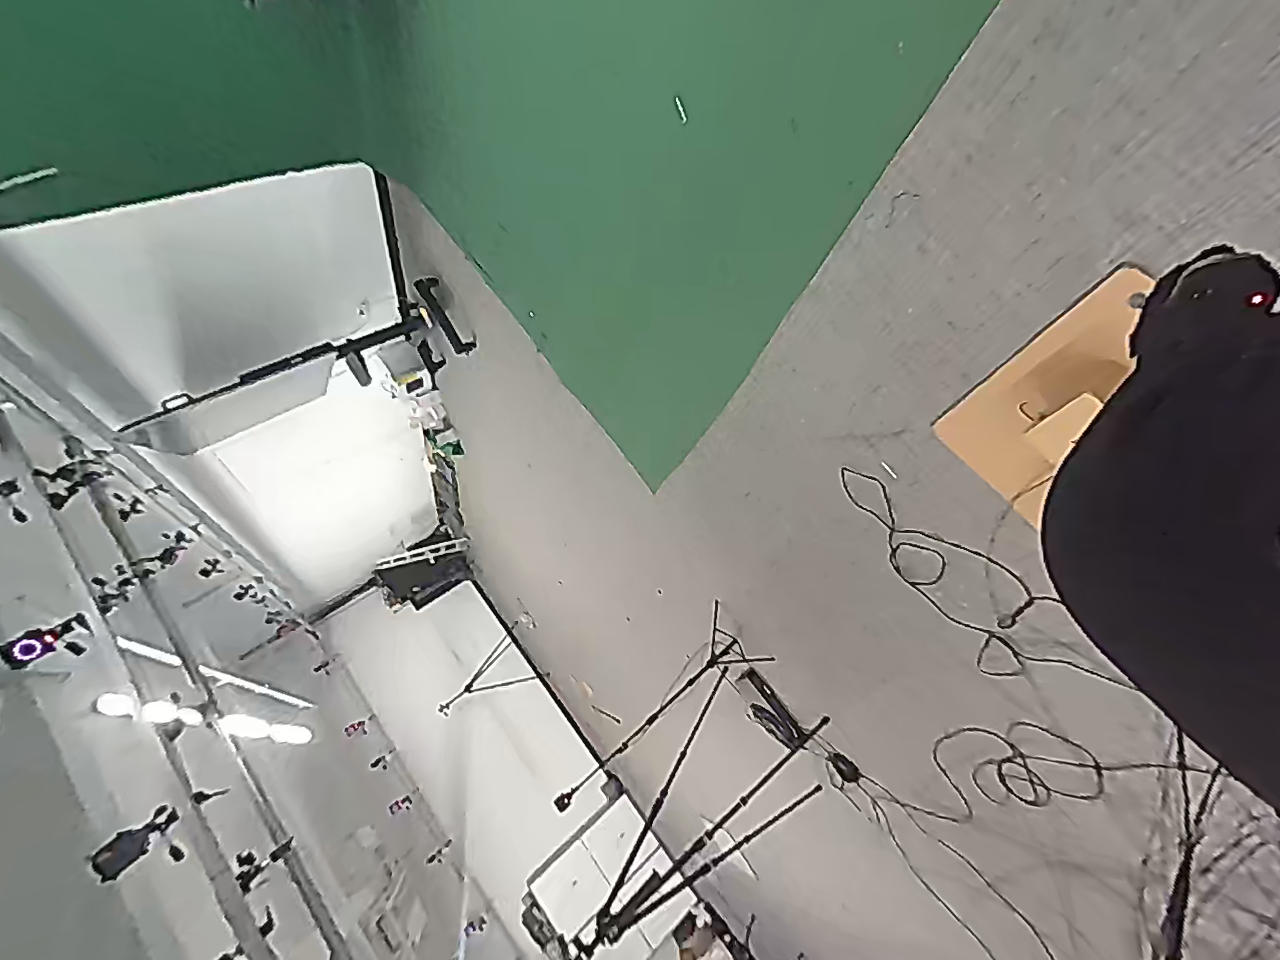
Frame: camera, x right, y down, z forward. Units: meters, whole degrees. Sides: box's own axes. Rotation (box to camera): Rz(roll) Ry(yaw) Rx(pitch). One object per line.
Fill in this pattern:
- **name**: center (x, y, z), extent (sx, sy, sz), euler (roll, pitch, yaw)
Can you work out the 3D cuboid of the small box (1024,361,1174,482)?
- **small box**: center (1.027, -0.131, 1.212), extent (0.168, 0.176, 0.179), euler (48, 150, 14)
